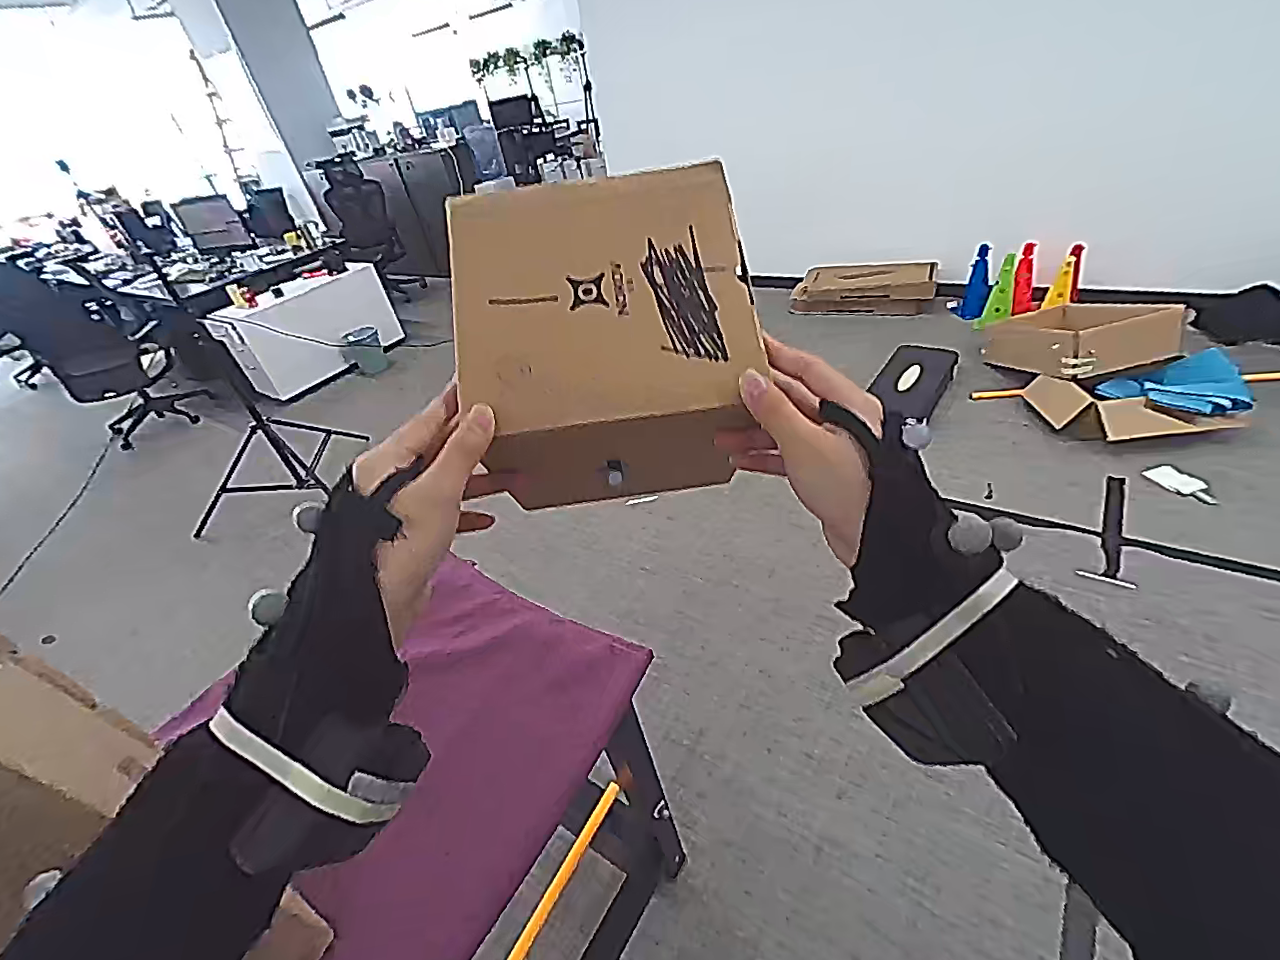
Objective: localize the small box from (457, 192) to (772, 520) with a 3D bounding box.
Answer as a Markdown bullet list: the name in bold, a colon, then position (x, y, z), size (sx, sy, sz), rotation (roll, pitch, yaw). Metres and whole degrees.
- **small box**: position (-0.020, -0.075, 0.402), size (0.179, 0.176, 0.168), rotation (-8, 73, -1)
